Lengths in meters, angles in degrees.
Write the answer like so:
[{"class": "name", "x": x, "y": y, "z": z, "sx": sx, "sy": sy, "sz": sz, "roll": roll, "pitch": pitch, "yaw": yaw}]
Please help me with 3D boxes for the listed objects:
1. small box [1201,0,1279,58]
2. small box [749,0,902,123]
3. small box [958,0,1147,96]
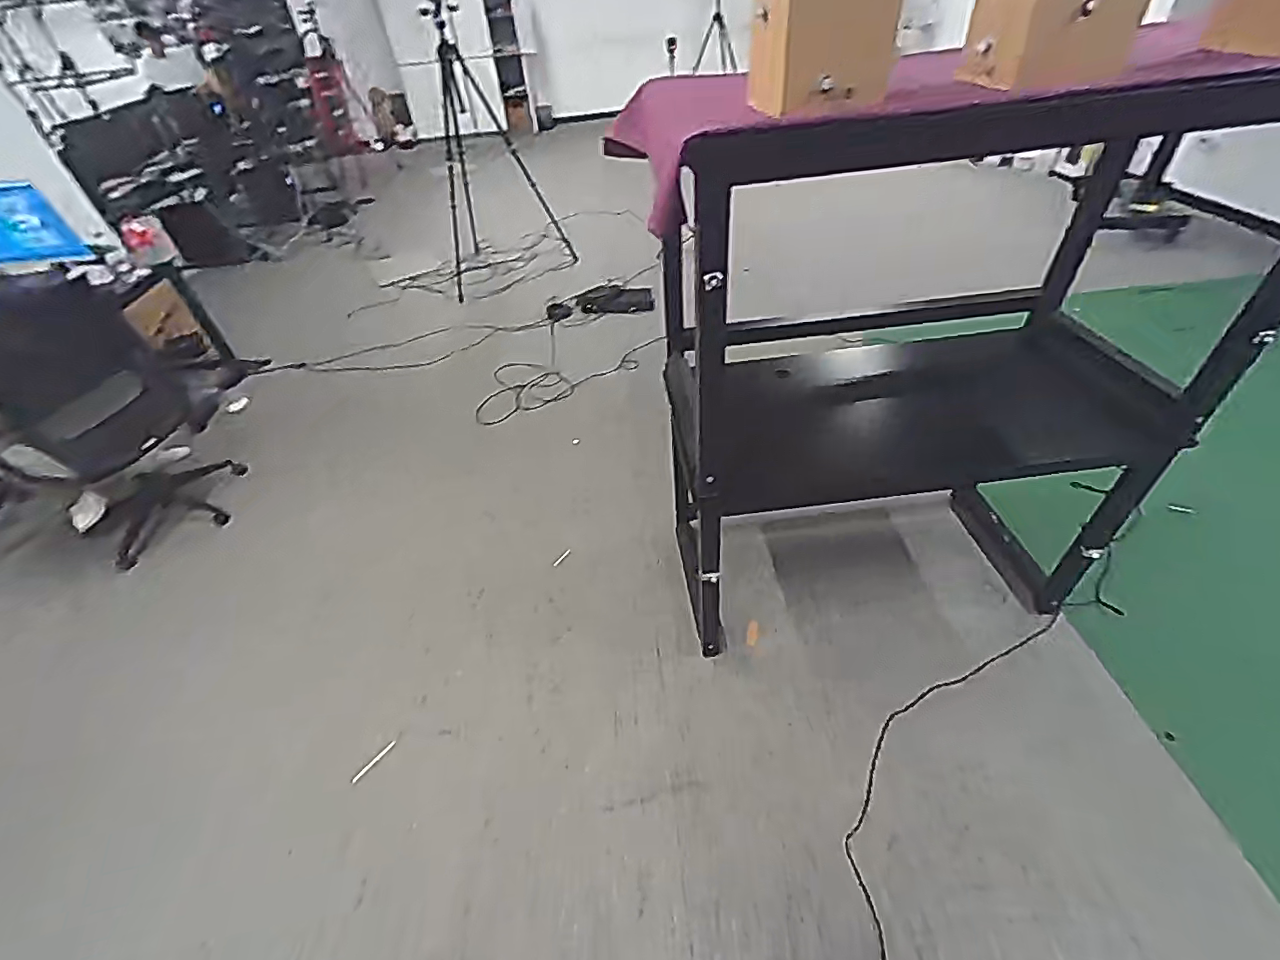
[{"class": "small box", "x": 1.059, "y": -0.774, "z": 0.840, "sx": 0.168, "sy": 0.176, "sz": 0.179, "roll": -7, "pitch": 44, "yaw": 0}, {"class": "small box", "x": 0.267, "y": -0.656, "z": 0.819, "sx": 0.168, "sy": 0.176, "sz": 0.179, "roll": -9, "pitch": 42, "yaw": -1}, {"class": "small box", "x": 0.632, "y": -0.713, "z": 0.831, "sx": 0.179, "sy": 0.176, "sz": 0.168, "roll": -7, "pitch": 41, "yaw": 1}]
